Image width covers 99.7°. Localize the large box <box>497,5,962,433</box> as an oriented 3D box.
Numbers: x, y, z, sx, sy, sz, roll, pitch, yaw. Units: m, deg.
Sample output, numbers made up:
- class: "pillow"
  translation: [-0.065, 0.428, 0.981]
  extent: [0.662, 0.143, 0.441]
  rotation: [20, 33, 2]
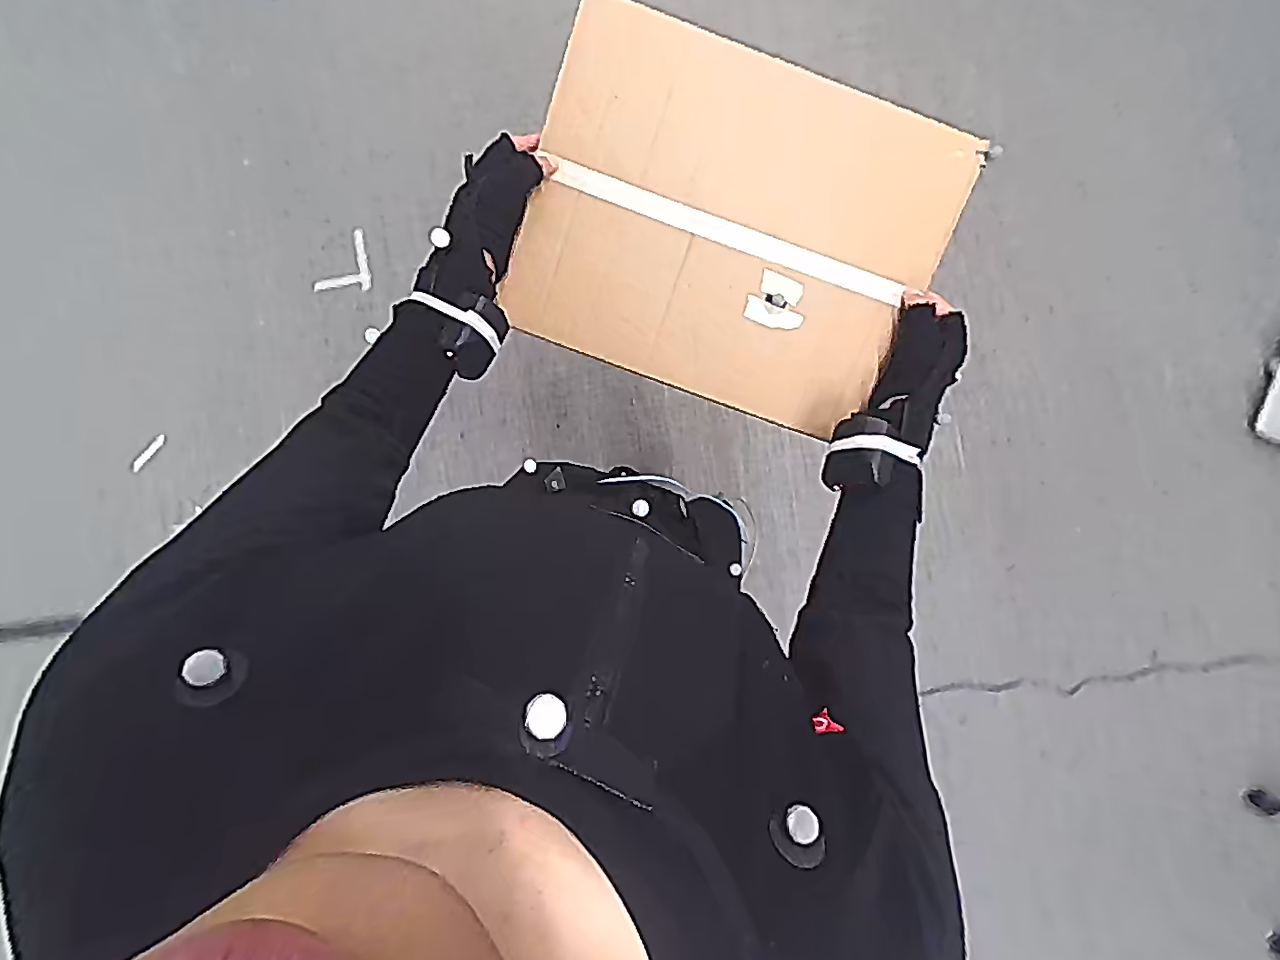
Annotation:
- class: "large box"
  translation: [0.082, -0.279, 0.692]
  extent: [0.408, 0.320, 0.320]
  rotation: [18, 102, -3]
